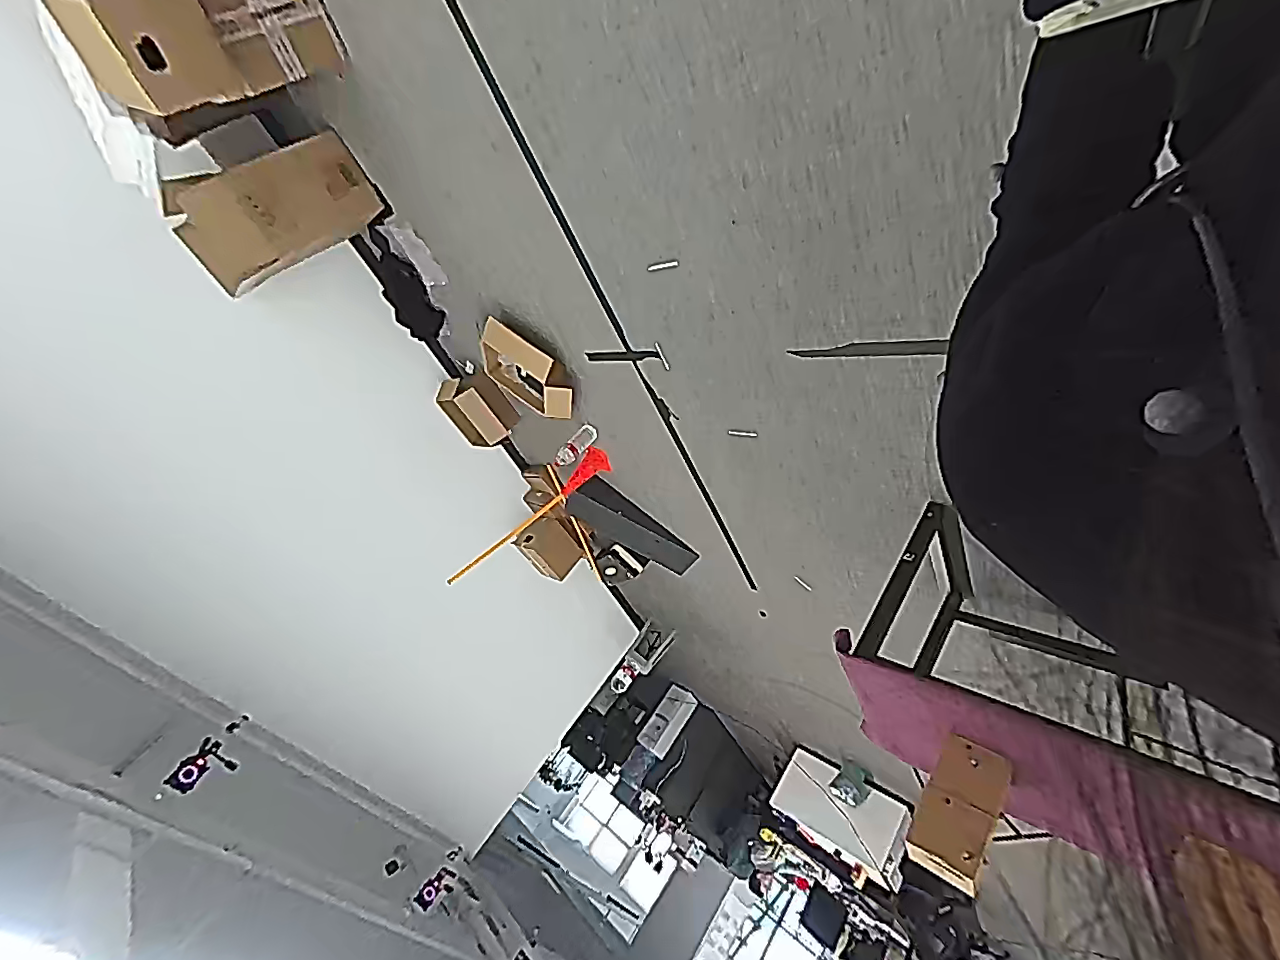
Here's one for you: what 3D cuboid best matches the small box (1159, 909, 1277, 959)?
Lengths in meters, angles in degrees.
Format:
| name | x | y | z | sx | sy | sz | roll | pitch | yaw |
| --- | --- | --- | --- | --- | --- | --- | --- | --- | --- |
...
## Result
| name | x | y | z | sx | sy | sz | roll | pitch | yaw |
| --- | --- | --- | --- | --- | --- | --- | --- | --- | --- |
| small box | 1.180 | 1.033 | 1.103 | 0.168 | 0.176 | 0.179 | 11 | 142 | 45 |

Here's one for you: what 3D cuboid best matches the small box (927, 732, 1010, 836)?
| name | x | y | z | sx | sy | sz | roll | pitch | yaw |
| --- | --- | --- | --- | --- | --- | --- | --- | --- | --- |
| small box | 0.935 | 0.859 | 1.539 | 0.168 | 0.176 | 0.179 | 15 | 144 | 41 |

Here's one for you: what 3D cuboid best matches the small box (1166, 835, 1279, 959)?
| name | x | y | z | sx | sy | sz | roll | pitch | yaw |
| --- | --- | --- | --- | --- | --- | --- | --- | --- | --- |
| small box | 1.274 | 0.917 | 1.172 | 0.168 | 0.176 | 0.179 | 12 | 142 | 45 |
